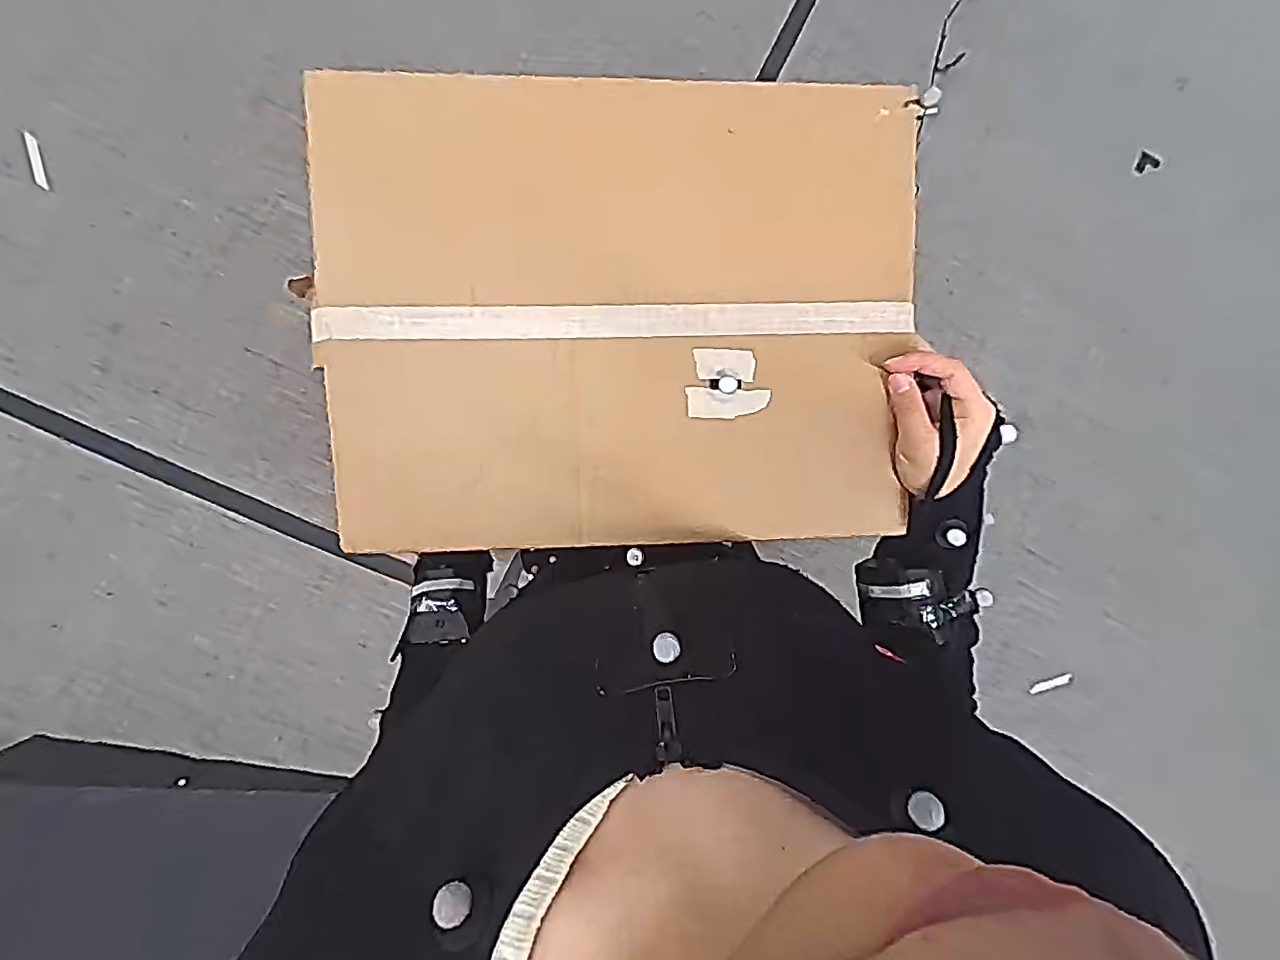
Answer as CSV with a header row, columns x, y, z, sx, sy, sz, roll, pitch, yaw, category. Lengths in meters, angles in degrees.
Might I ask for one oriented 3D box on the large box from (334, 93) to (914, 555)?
x,y,z,sx,sy,sz,roll,pitch,yaw,category
-0.013,-0.121,0.530,0.408,0.320,0.320,-2,96,-5,large box
